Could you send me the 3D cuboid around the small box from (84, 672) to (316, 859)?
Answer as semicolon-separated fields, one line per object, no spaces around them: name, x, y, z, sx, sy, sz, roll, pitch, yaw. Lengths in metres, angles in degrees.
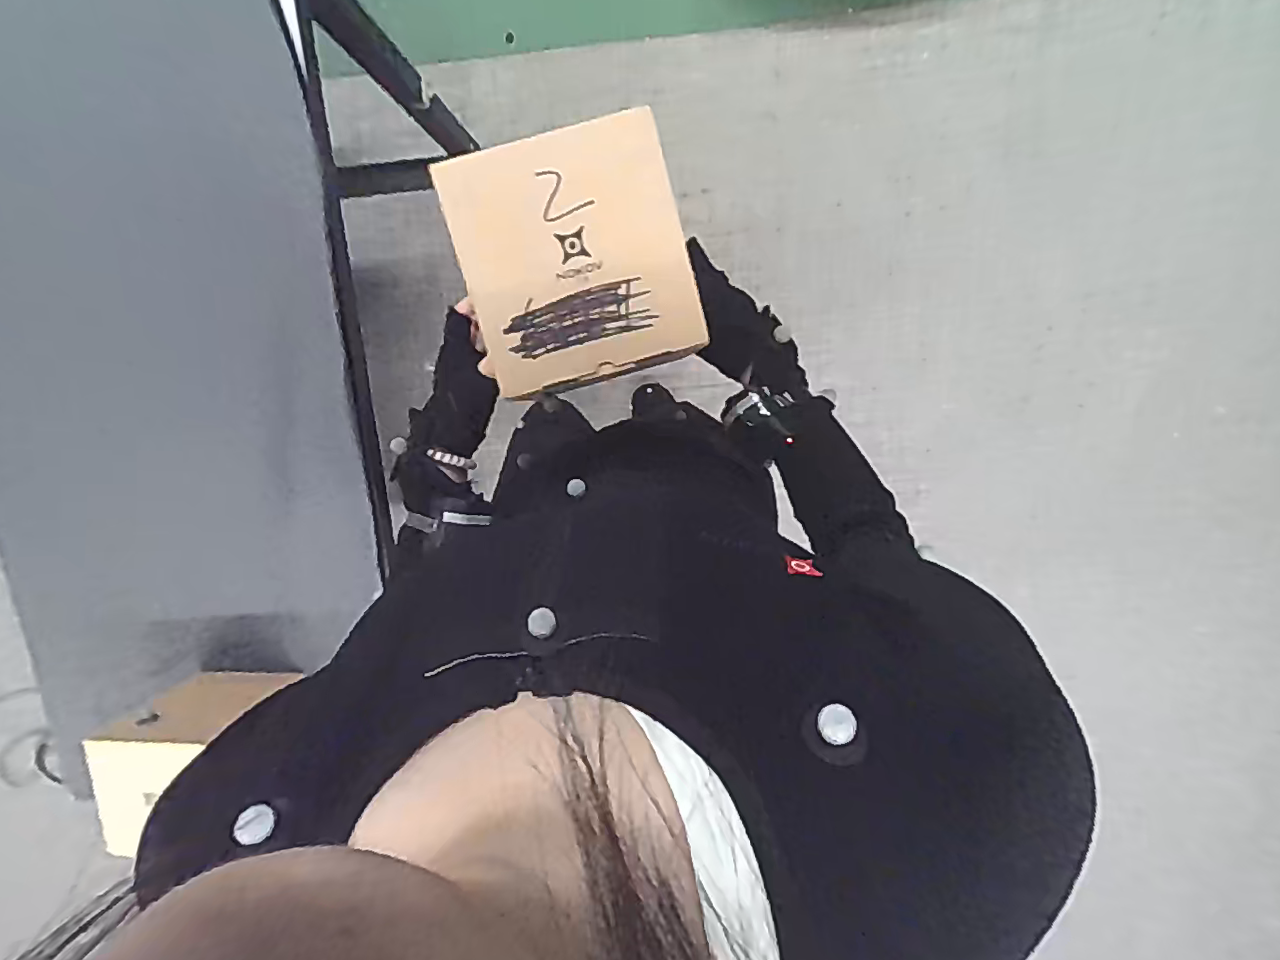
small box;-0.597;0.385;0.756;0.179;0.176;0.168;-1;100;5
